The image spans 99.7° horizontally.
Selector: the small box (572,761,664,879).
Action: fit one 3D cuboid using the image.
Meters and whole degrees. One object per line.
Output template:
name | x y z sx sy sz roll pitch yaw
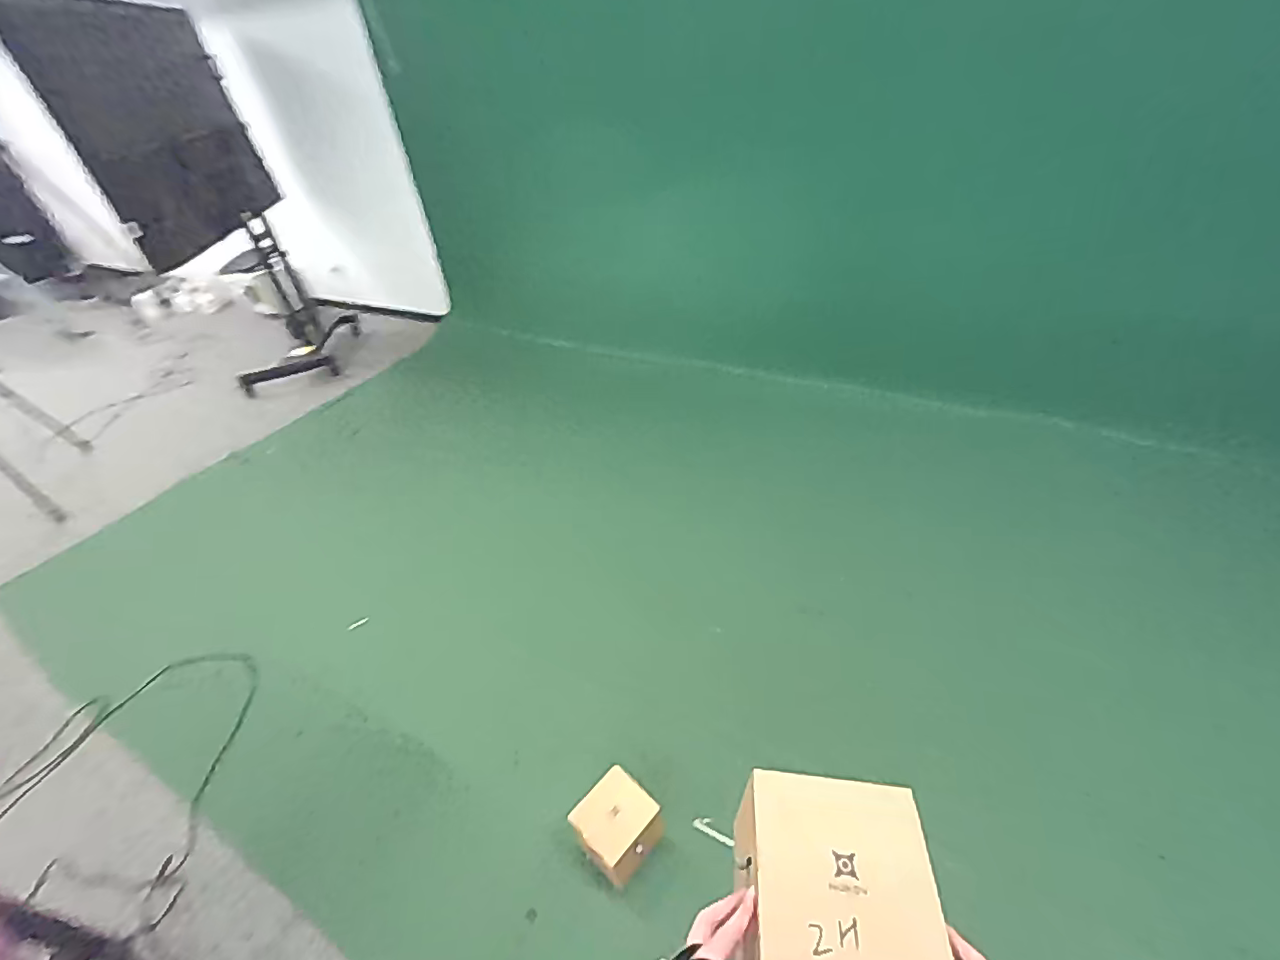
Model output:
small box | -0.051 0.888 1.414 0.168 0.176 0.179 29 52 36
